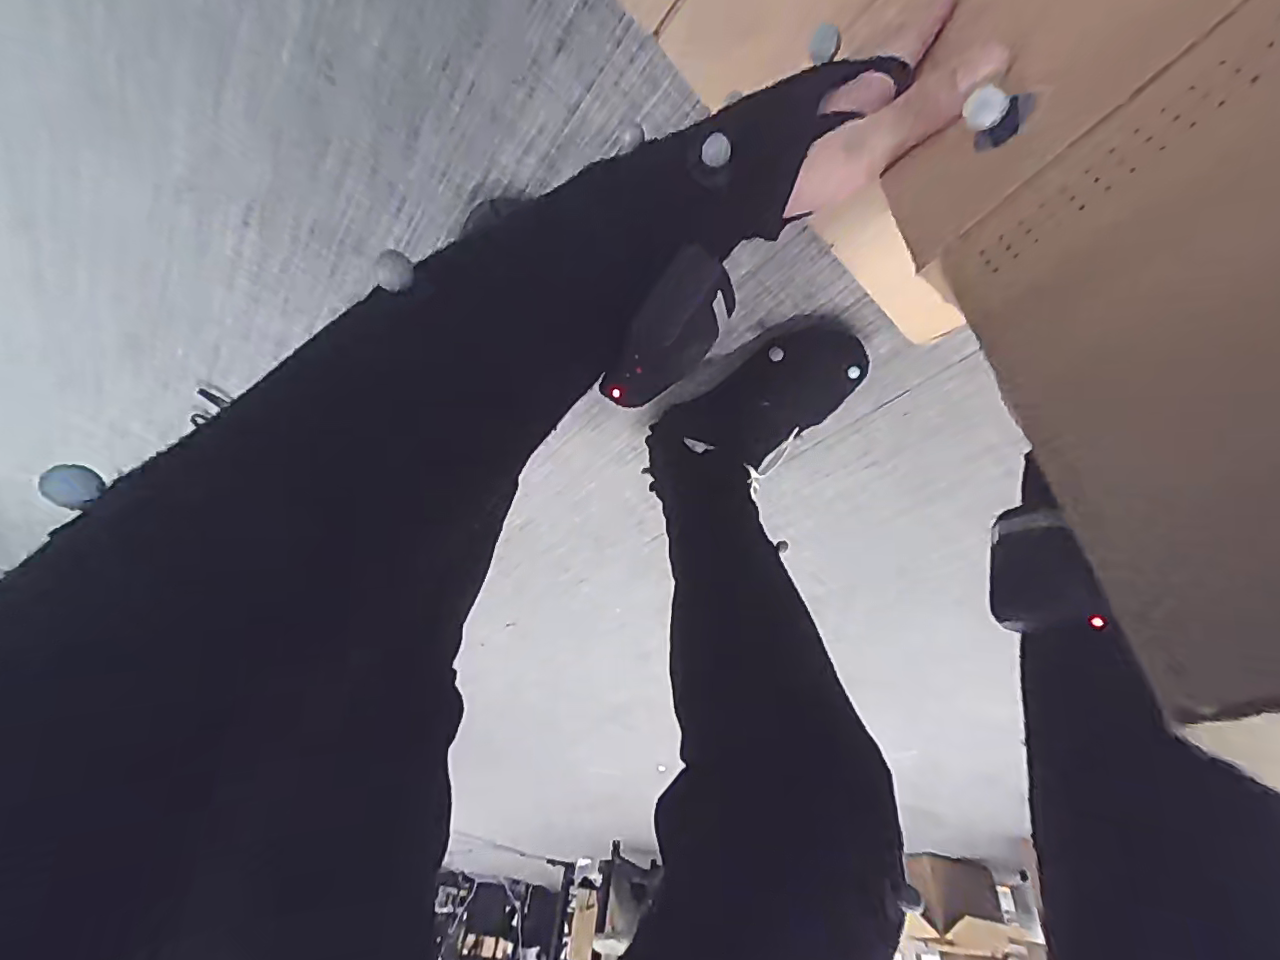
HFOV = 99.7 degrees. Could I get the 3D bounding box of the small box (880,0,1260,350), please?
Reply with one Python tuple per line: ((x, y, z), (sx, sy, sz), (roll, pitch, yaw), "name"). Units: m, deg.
((0.227, -0.145, 0.229), (0.168, 0.176, 0.179), (29, 135, -21), "small box")
